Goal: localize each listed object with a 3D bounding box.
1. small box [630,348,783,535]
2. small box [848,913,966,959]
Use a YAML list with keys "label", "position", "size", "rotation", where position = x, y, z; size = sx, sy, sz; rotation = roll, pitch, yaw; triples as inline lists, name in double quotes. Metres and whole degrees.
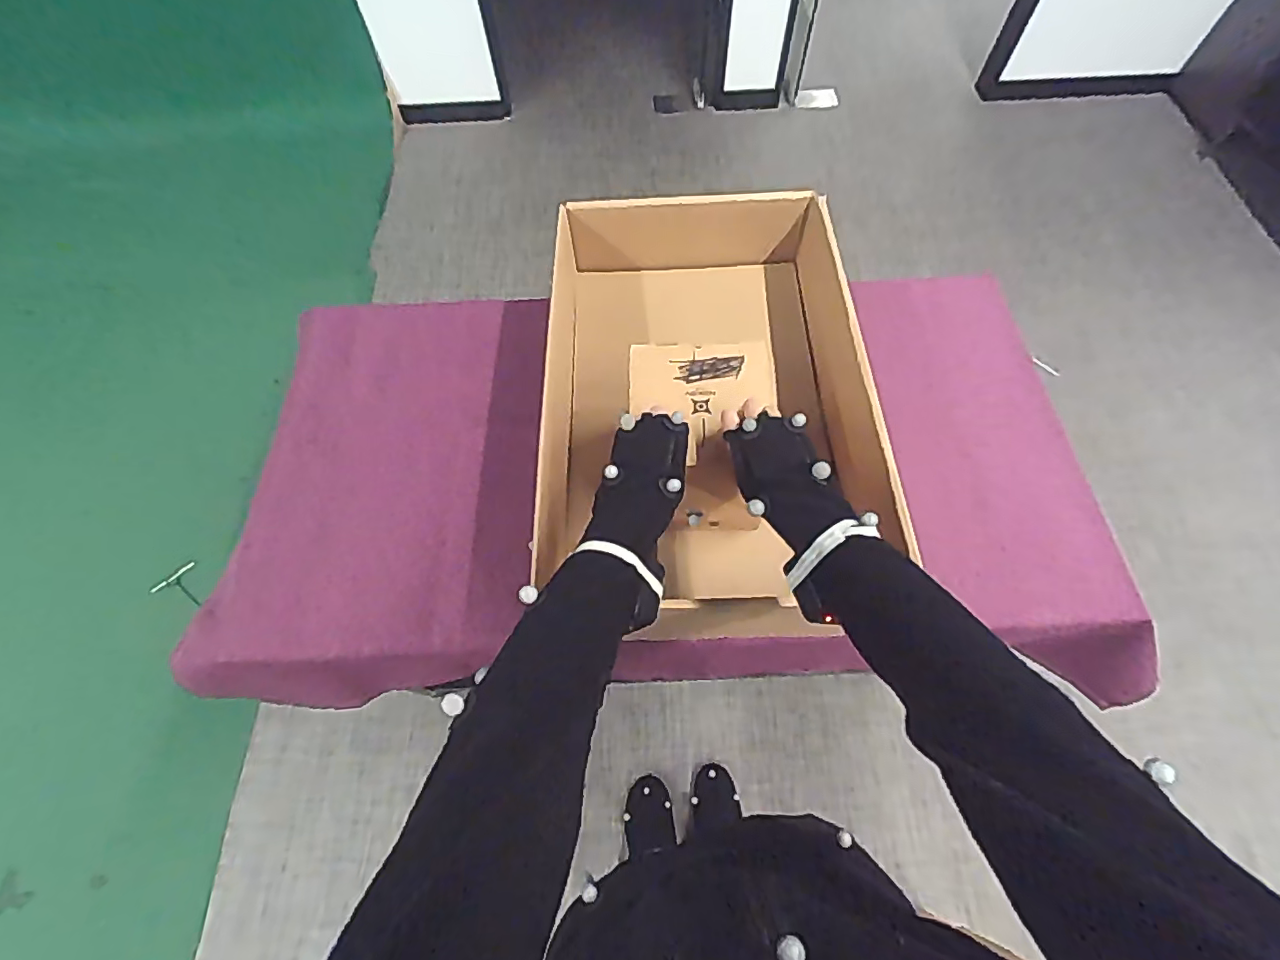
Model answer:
- label: "small box"
  position: [0.072, -0.044, 0.681]
  size: [0.168, 0.176, 0.179]
  rotation: [-1, 61, 1]
- label: "small box"
  position: [0.518, 0.960, 1.036]
  size: [0.179, 0.176, 0.168]
  rotation: [-7, 63, -3]
